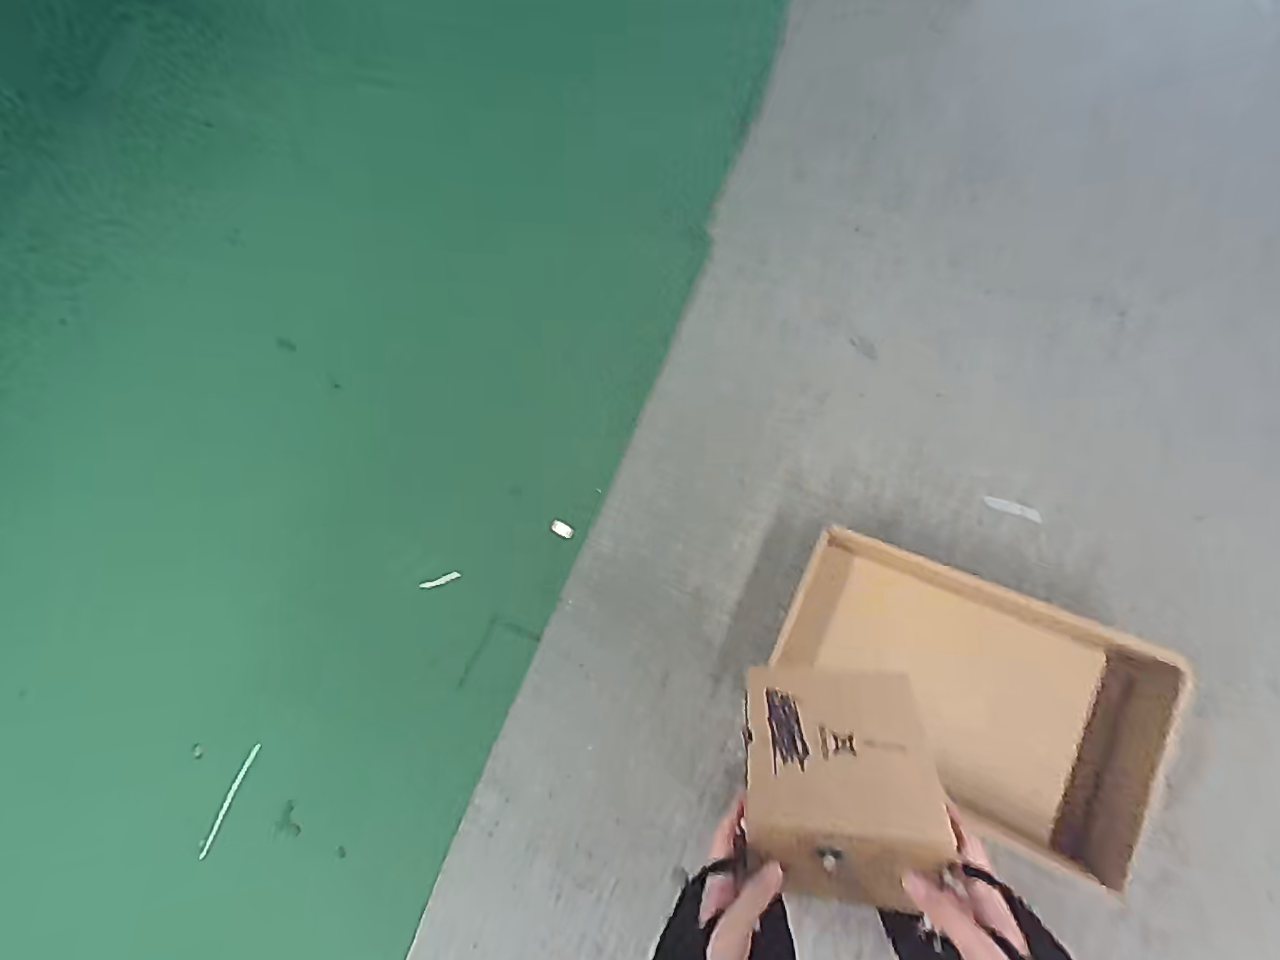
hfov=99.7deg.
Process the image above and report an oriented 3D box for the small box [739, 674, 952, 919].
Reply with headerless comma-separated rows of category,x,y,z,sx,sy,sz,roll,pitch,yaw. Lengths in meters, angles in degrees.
small box,0.198,0.327,0.568,0.179,0.176,0.168,-2,36,12
